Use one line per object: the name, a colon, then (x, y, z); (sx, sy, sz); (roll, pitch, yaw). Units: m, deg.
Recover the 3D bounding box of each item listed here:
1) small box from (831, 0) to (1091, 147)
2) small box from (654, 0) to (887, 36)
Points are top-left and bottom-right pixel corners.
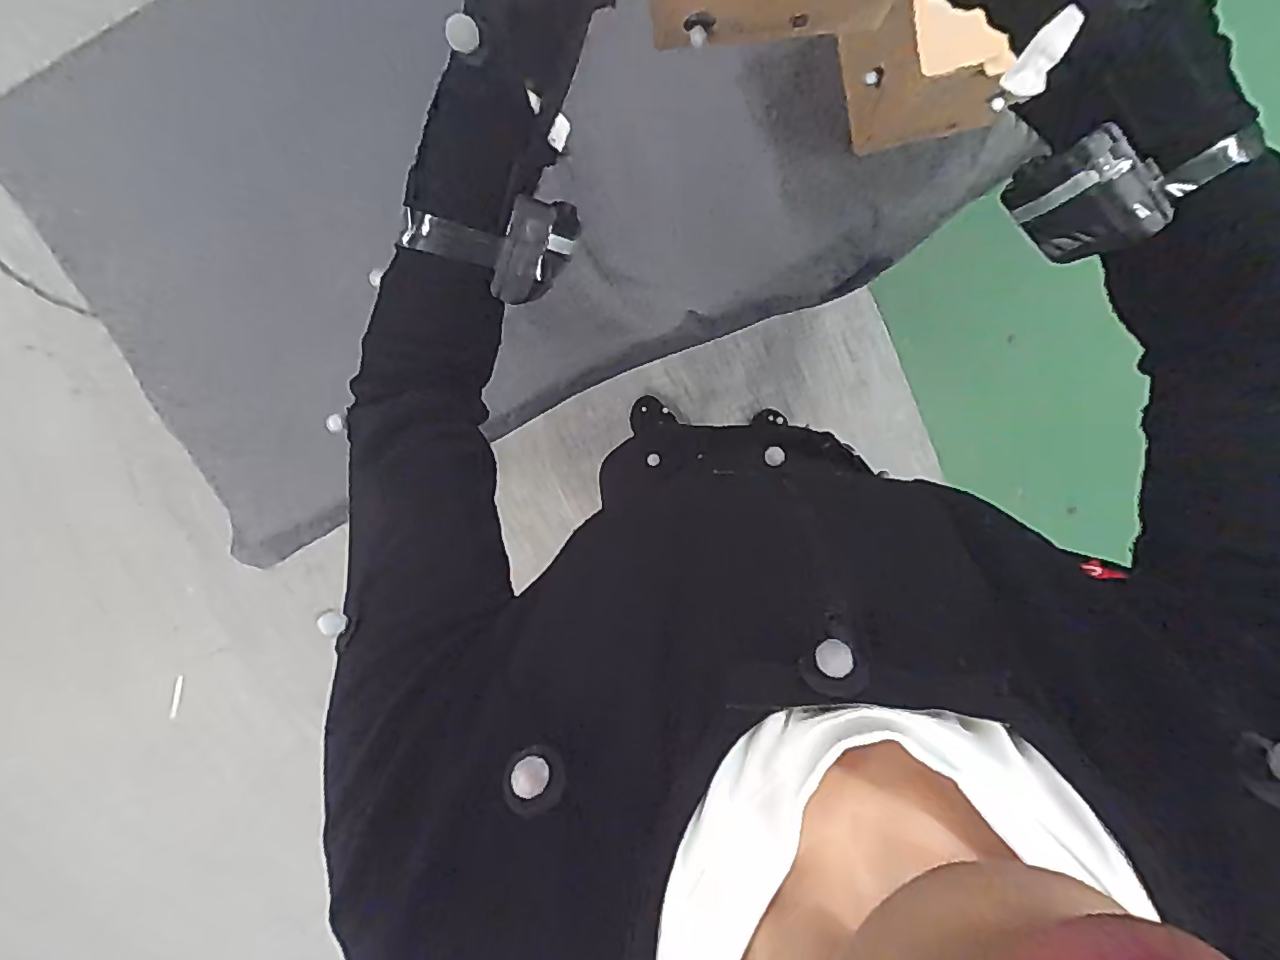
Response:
small box: (0.316, -0.481, 0.566); (0.168, 0.176, 0.179); (-13, 98, 2)
small box: (0.084, -0.393, 0.306); (0.168, 0.176, 0.179); (-2, 100, 4)
